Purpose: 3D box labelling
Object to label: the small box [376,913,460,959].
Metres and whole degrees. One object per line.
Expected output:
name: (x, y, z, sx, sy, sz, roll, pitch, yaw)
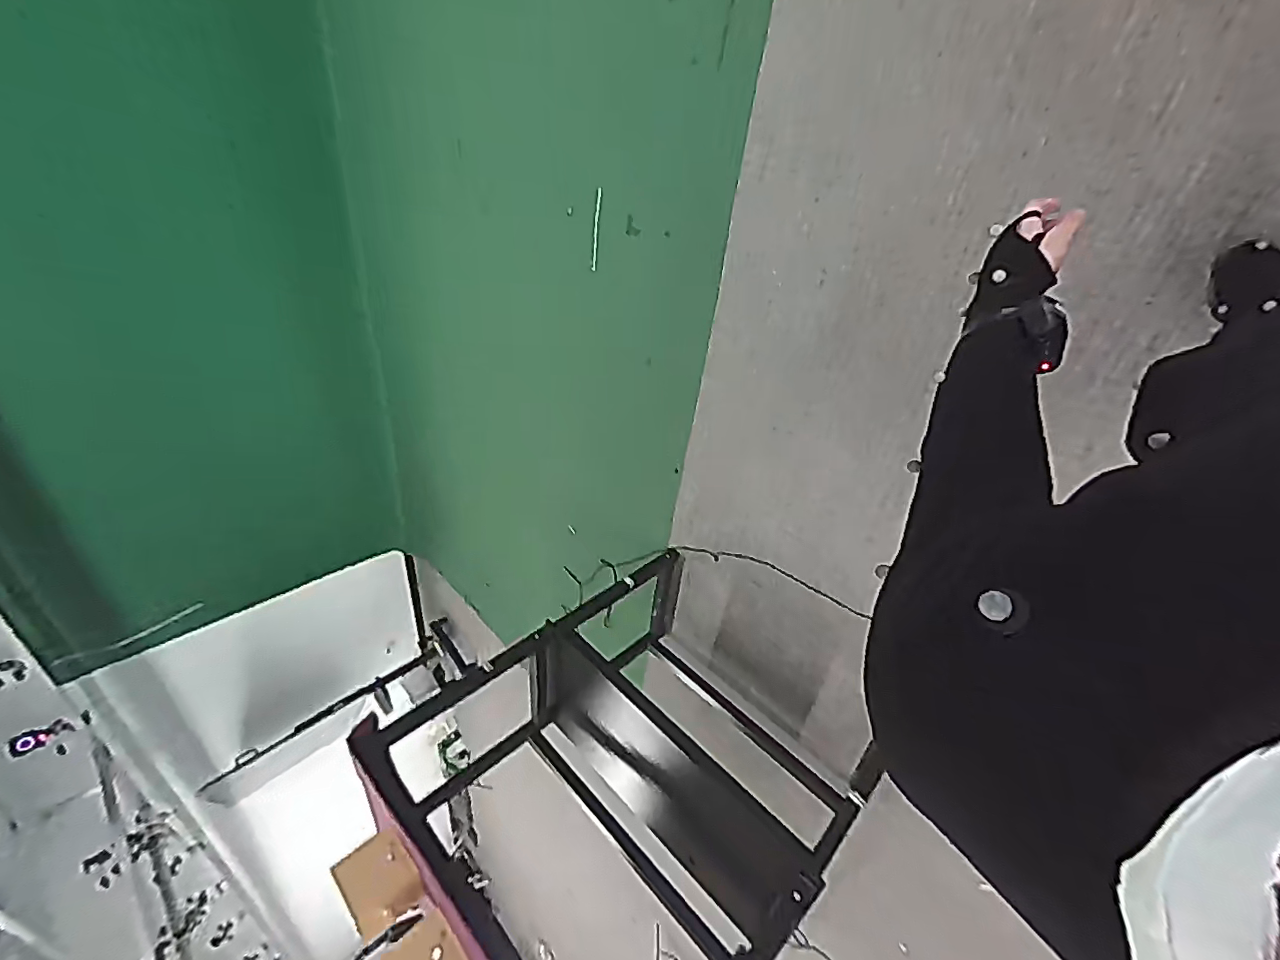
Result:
small box: (-0.526, 1.205, 1.298, 0.168, 0.176, 0.179, 33, 130, 32)
